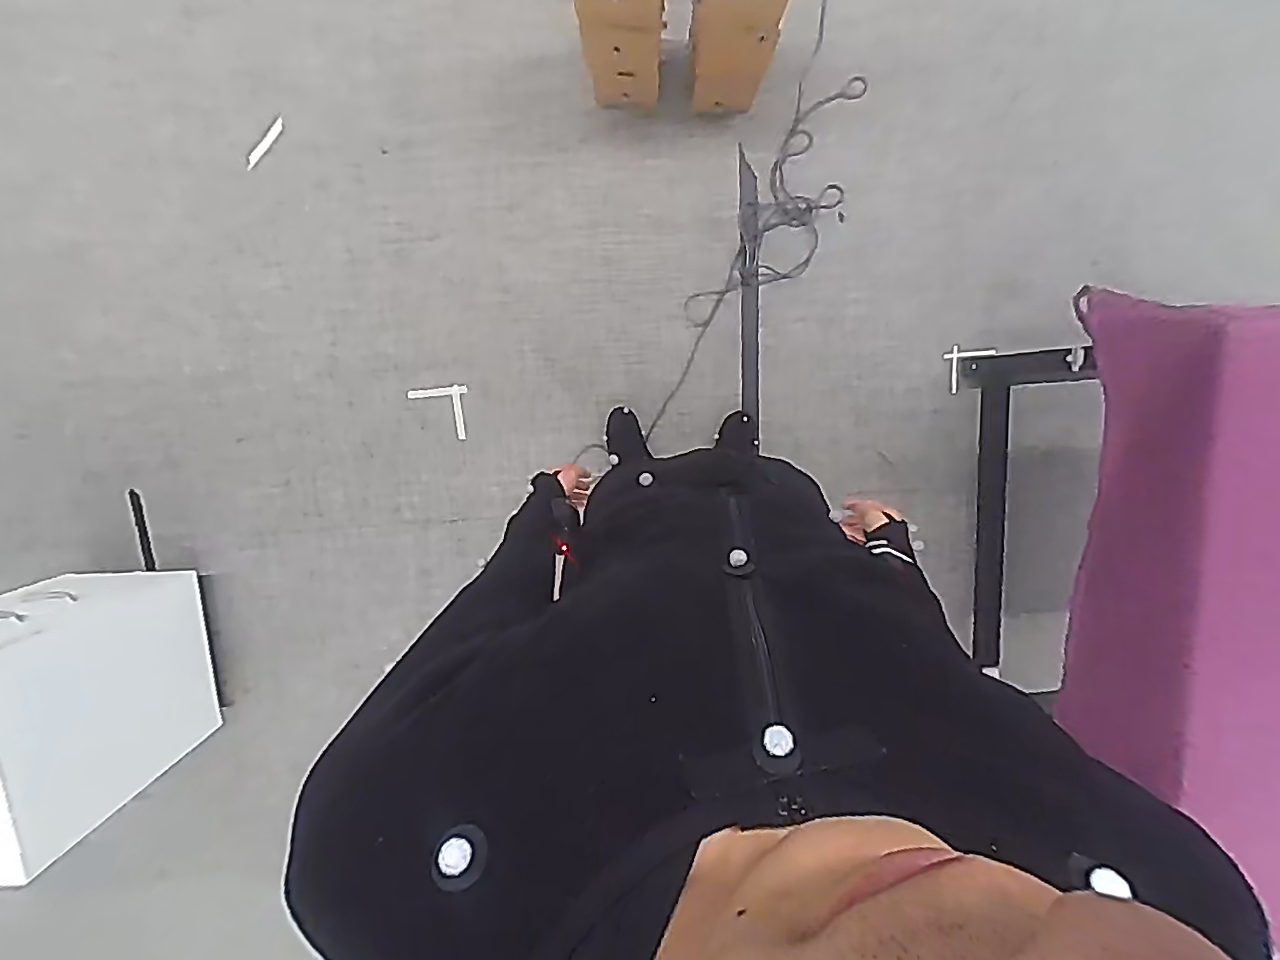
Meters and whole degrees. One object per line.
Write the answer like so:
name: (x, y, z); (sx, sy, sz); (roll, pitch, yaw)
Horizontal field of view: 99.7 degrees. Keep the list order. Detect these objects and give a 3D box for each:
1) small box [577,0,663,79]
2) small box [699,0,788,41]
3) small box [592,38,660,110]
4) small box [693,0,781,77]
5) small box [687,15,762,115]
small box: (-0.039, -1.037, 1.209); (0.179, 0.176, 0.168); (6, 98, -1)
small box: (0.213, -1.016, 1.055); (0.168, 0.176, 0.179); (6, 98, -1)
small box: (-0.036, -1.078, 1.369); (0.168, 0.176, 0.179); (2, 99, 0)
small box: (0.213, -1.043, 1.217); (0.179, 0.176, 0.168); (-1, 99, 0)
small box: (0.211, -1.068, 1.377); (0.168, 0.176, 0.179); (-3, 99, 0)
